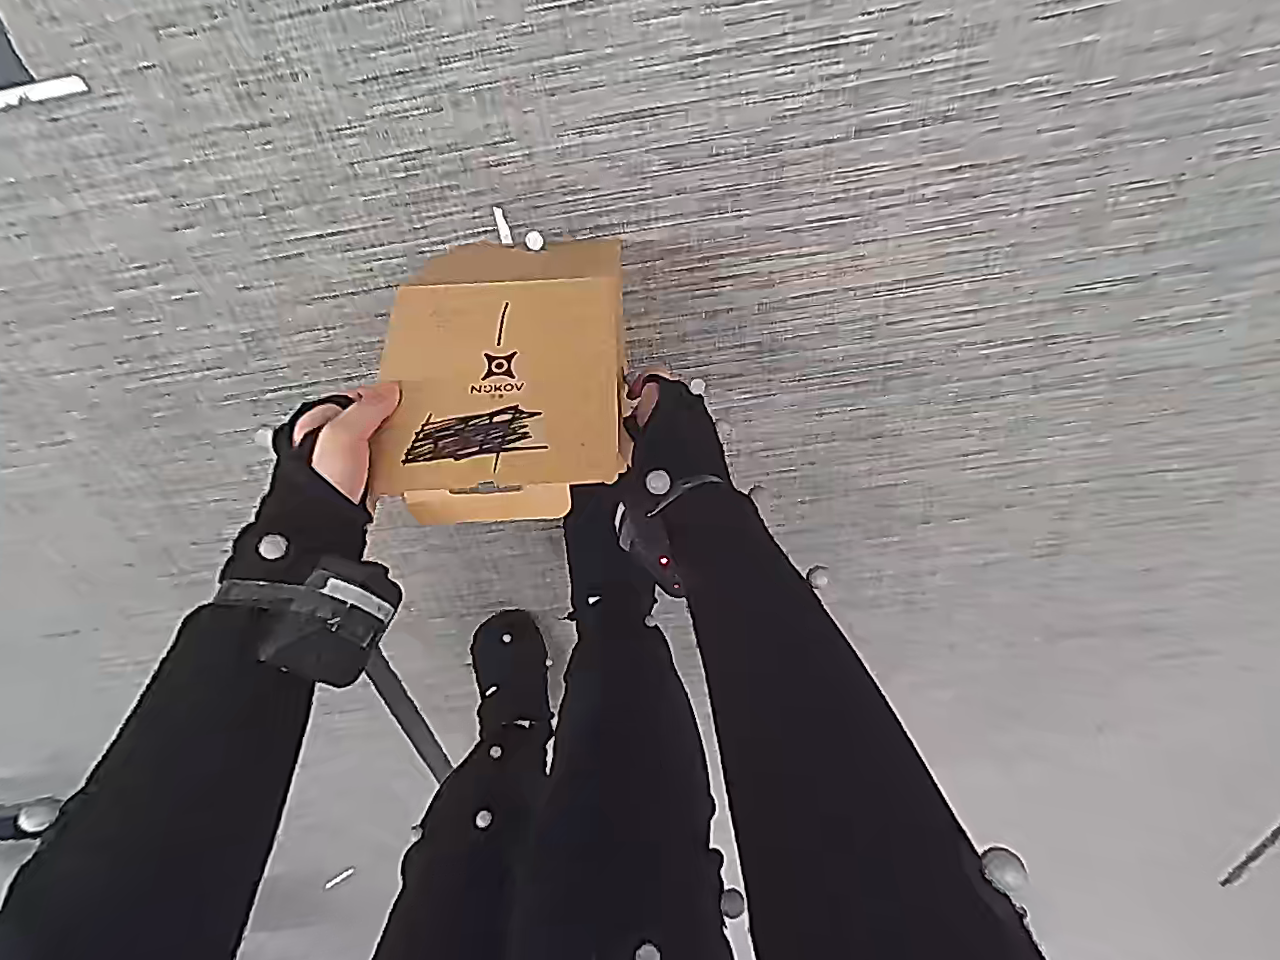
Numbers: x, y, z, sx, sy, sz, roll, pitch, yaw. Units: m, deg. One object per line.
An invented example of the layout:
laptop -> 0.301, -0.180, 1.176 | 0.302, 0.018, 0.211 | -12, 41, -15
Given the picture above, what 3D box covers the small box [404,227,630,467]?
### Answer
small box -> -0.094, -0.130, 0.513 | 0.168, 0.176, 0.179 | -2, 123, 0
